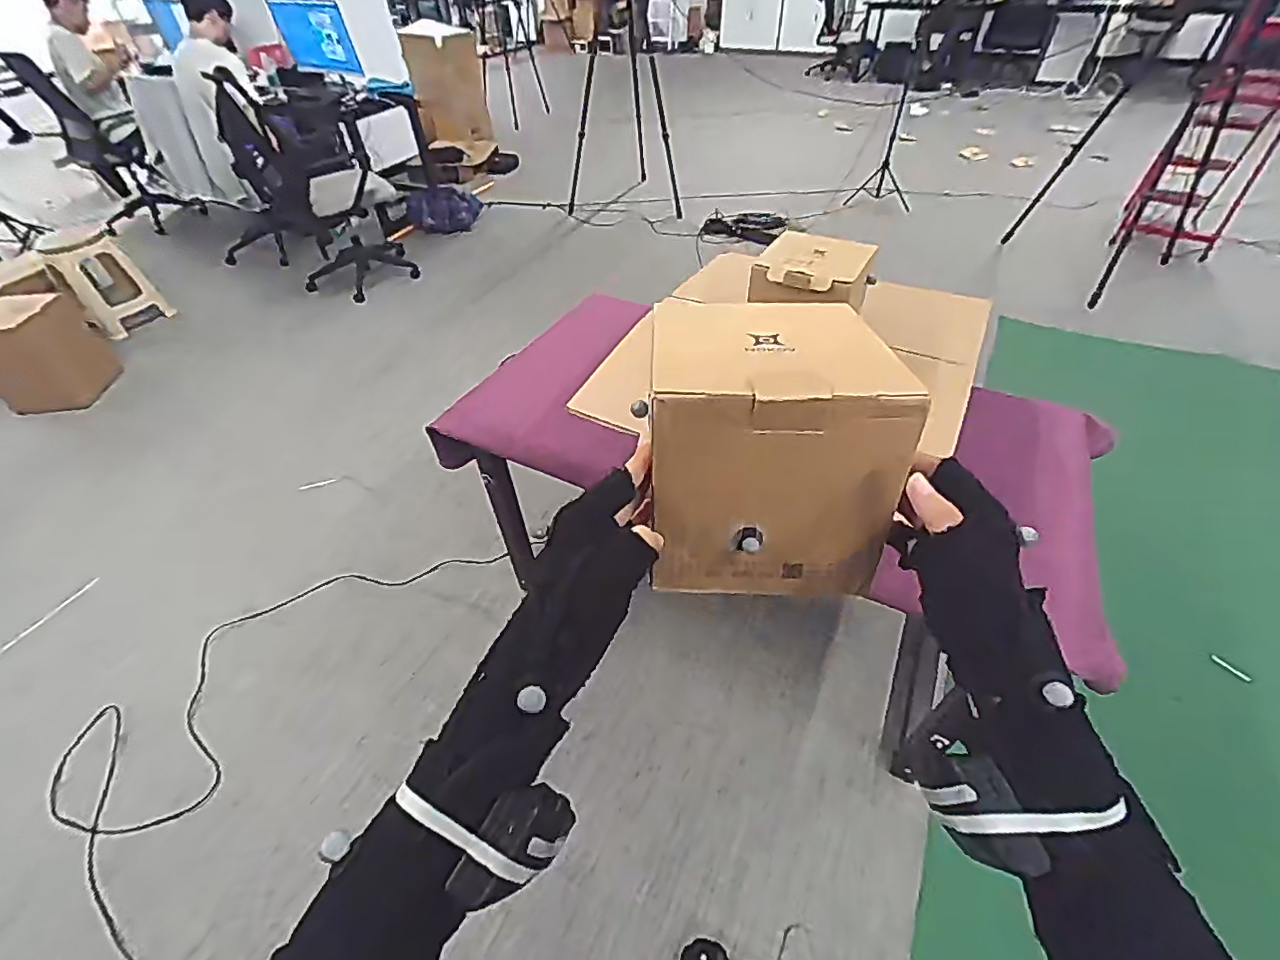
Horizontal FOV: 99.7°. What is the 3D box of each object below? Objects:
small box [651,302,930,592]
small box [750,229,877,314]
[{"bbox_3d":[0.093,-0.033,0.435,0.168,0.176,0.179,0,36,1],"label":"small box"},{"bbox_3d":[0.298,-0.319,0.961,0.168,0.176,0.179,21,50,22],"label":"small box"}]
